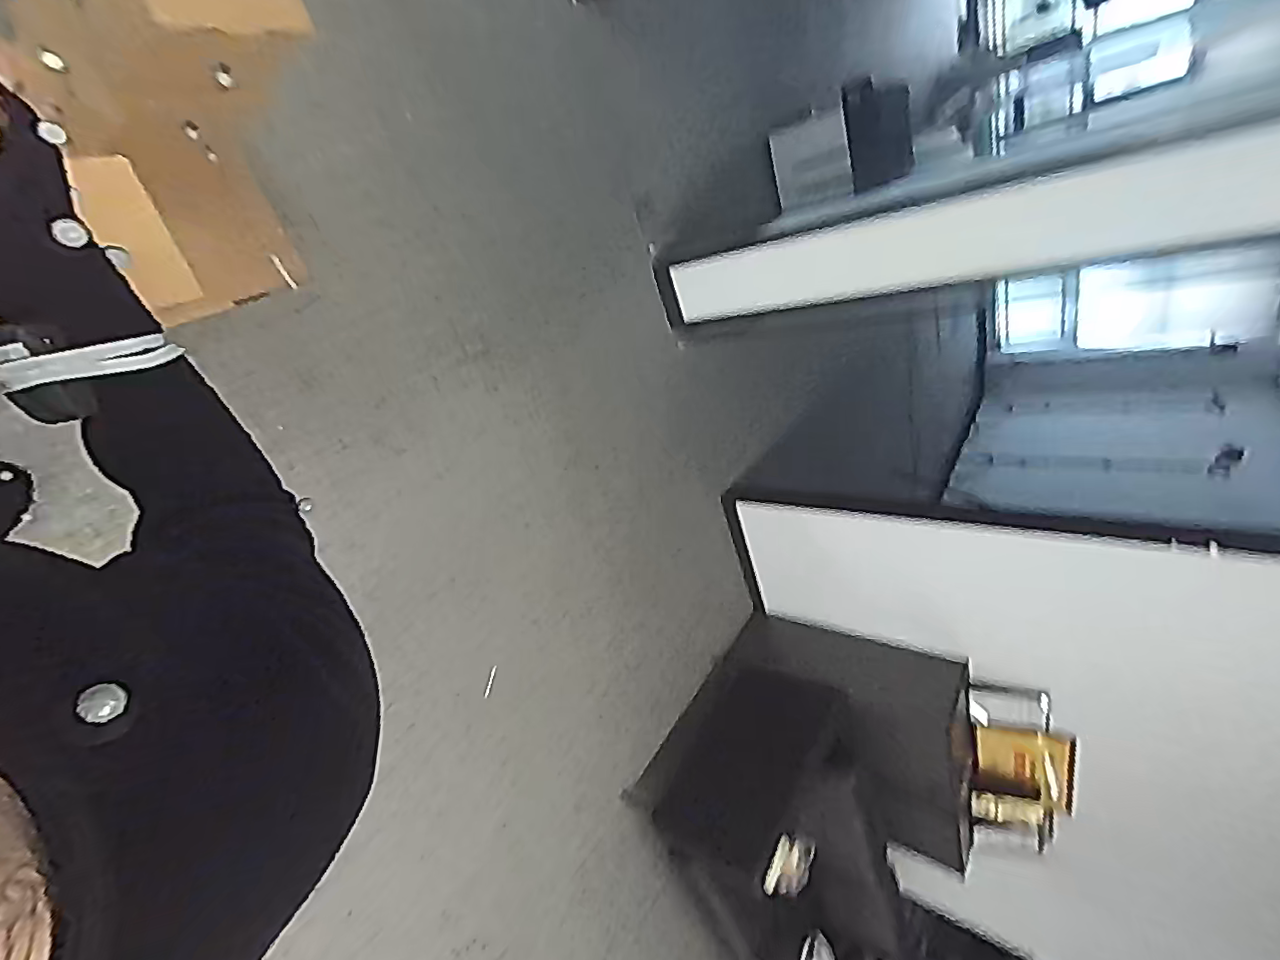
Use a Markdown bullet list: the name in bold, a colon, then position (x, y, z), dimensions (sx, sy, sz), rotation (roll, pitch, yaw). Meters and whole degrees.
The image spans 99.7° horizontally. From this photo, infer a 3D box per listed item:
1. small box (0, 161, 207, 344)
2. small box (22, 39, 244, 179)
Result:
- **small box**: position (-0.695, -0.275, 0.666), dimensions (0.179, 0.176, 0.168), rotation (-39, 123, -41)
- **small box**: position (-0.765, -0.573, 0.820), dimensions (0.179, 0.176, 0.168), rotation (-45, 125, -42)
